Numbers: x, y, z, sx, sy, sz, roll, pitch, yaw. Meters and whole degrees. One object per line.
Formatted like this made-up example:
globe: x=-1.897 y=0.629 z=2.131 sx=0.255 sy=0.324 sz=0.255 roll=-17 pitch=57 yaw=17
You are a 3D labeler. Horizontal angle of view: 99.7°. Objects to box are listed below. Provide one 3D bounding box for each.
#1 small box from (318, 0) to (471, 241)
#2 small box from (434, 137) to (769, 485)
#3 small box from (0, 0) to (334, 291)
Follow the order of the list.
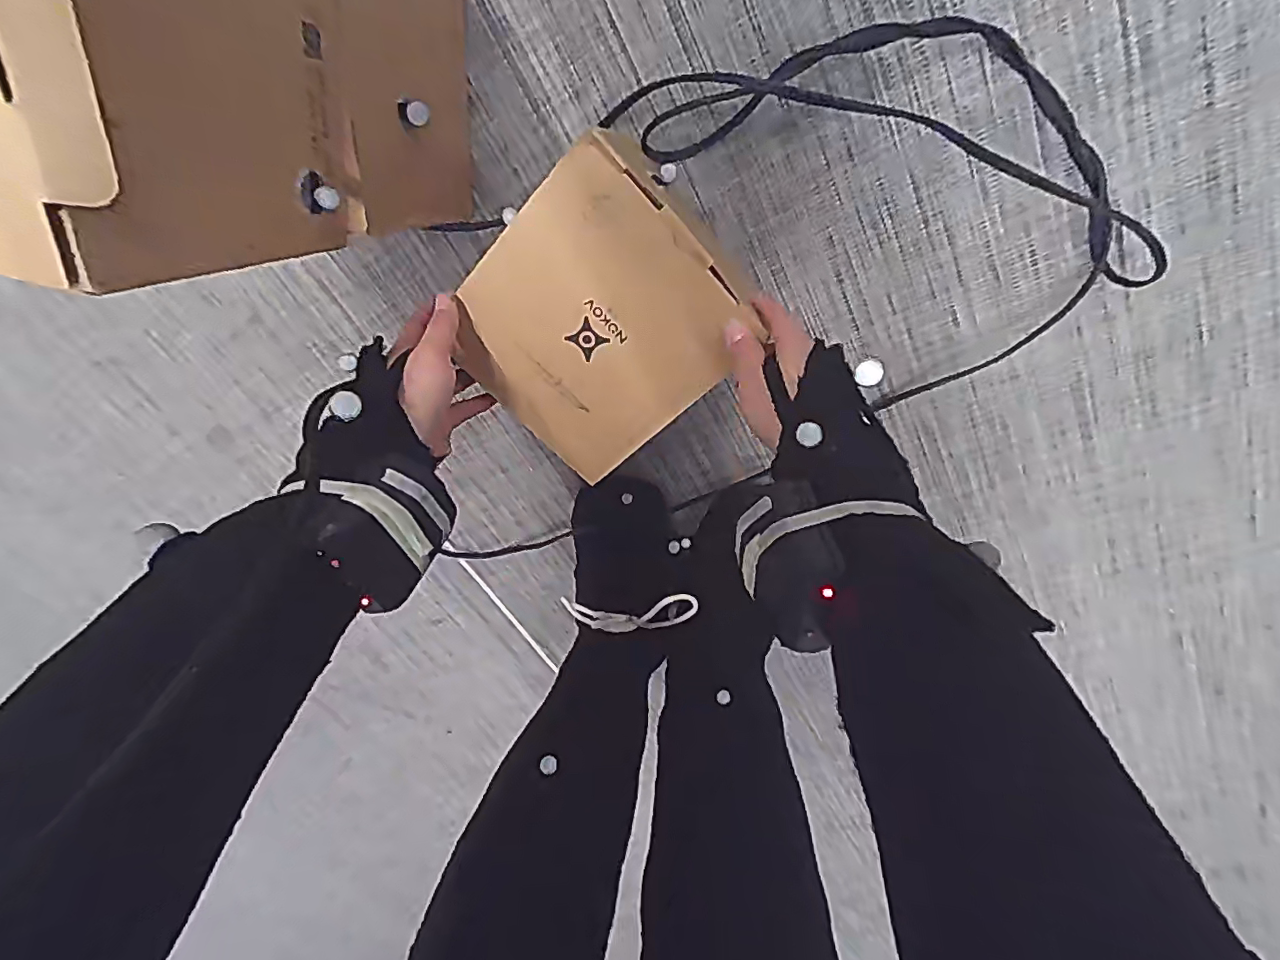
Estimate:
small box: x=-0.231 y=-0.282 z=0.382 sx=0.168 sy=0.176 sz=0.179 roll=9 pitch=120 yaw=4
small box: x=-0.022 y=-0.136 z=0.435 sx=0.168 sy=0.176 sz=0.179 roll=43 pitch=117 yaw=-15
small box: x=-0.264 y=-0.200 z=0.242 sx=0.179 sy=0.176 sz=0.168 roll=14 pitch=119 yaw=2
